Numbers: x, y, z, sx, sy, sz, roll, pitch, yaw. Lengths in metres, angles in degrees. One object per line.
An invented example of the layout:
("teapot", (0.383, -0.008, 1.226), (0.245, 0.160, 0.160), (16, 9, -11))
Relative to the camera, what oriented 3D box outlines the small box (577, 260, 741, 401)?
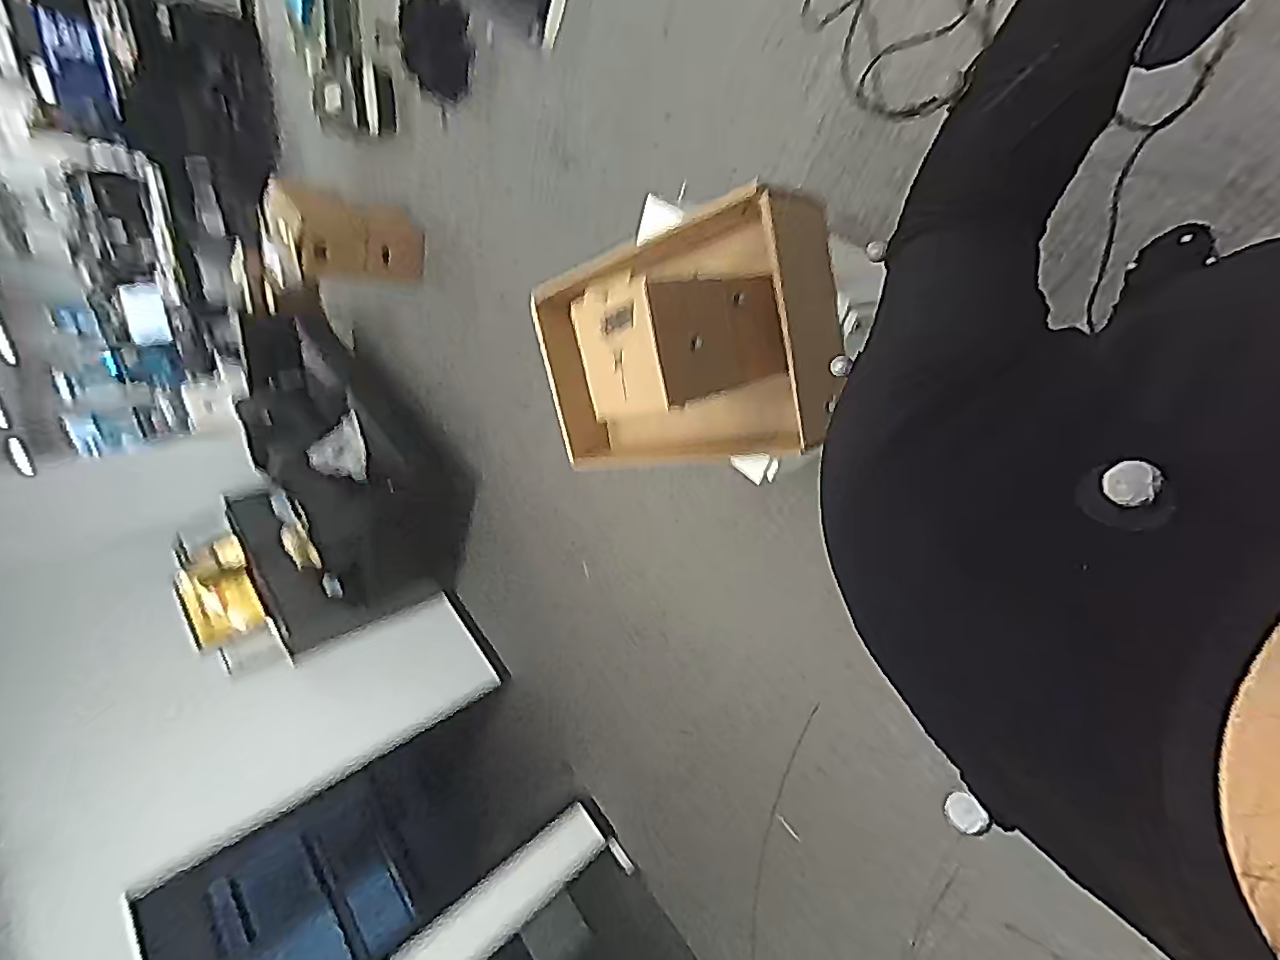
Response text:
("small box", (0.033, -0.228, 0.828), (0.168, 0.176, 0.179), (3, 110, 48))
